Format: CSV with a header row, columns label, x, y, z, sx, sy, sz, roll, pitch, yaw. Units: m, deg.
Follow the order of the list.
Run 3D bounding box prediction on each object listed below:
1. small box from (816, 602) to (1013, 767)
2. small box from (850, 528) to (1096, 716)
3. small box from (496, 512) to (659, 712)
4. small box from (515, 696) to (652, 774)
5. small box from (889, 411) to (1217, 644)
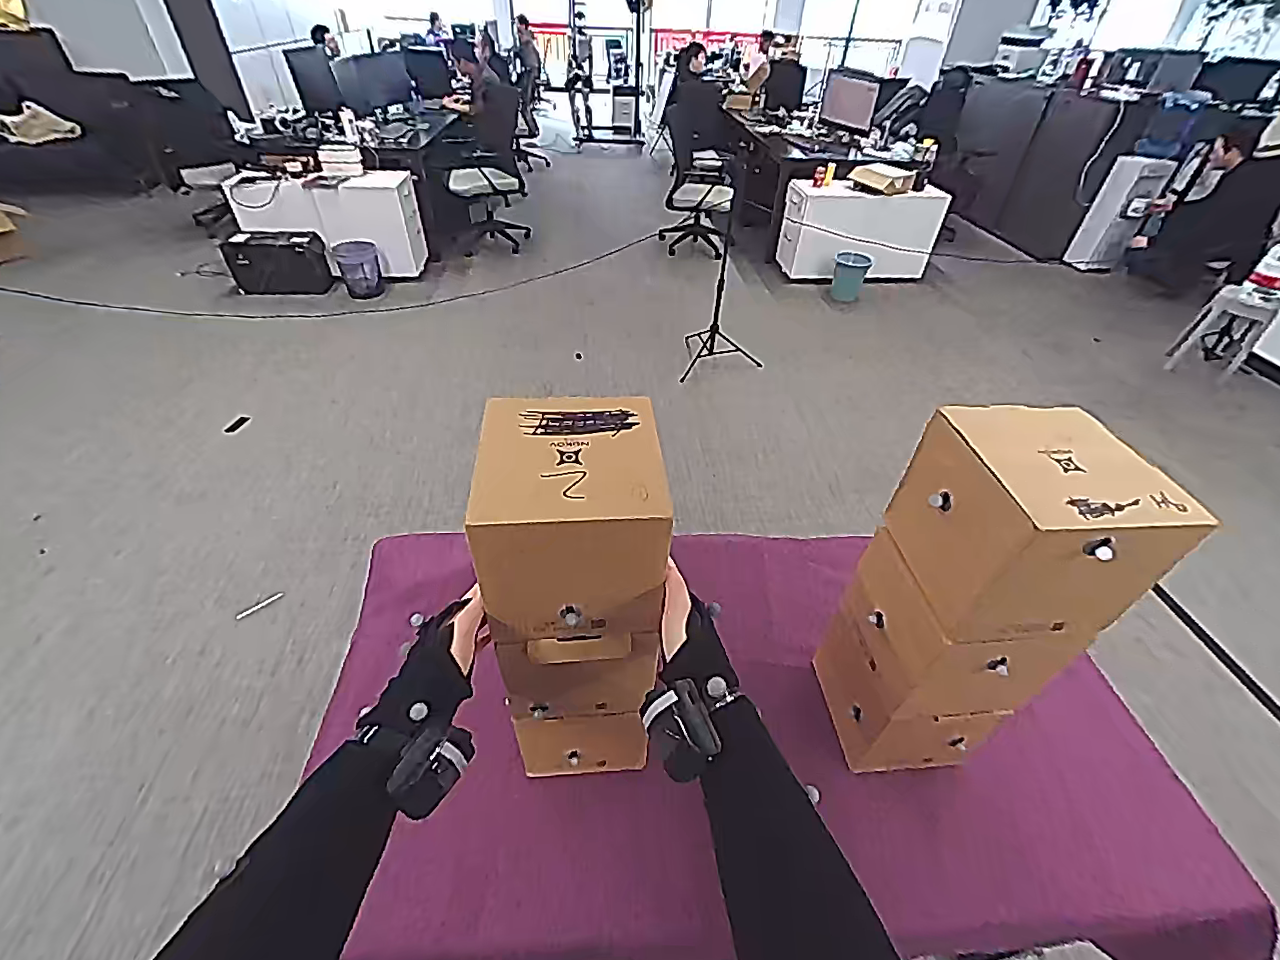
label,x,y,z,sx,sy,sz,roll,pitch,yaw
small box,0.372,0.293,0.772,0.168,0.176,0.179,-1,41,-5
small box,0.378,0.172,0.661,0.179,0.176,0.168,-1,43,-6
small box,-0.071,0.161,0.648,0.168,0.176,0.179,-2,42,-7
small box,-0.077,0.284,0.757,0.168,0.176,0.179,-1,43,-5
small box,0.389,0.046,0.557,0.168,0.176,0.179,-1,41,-5
